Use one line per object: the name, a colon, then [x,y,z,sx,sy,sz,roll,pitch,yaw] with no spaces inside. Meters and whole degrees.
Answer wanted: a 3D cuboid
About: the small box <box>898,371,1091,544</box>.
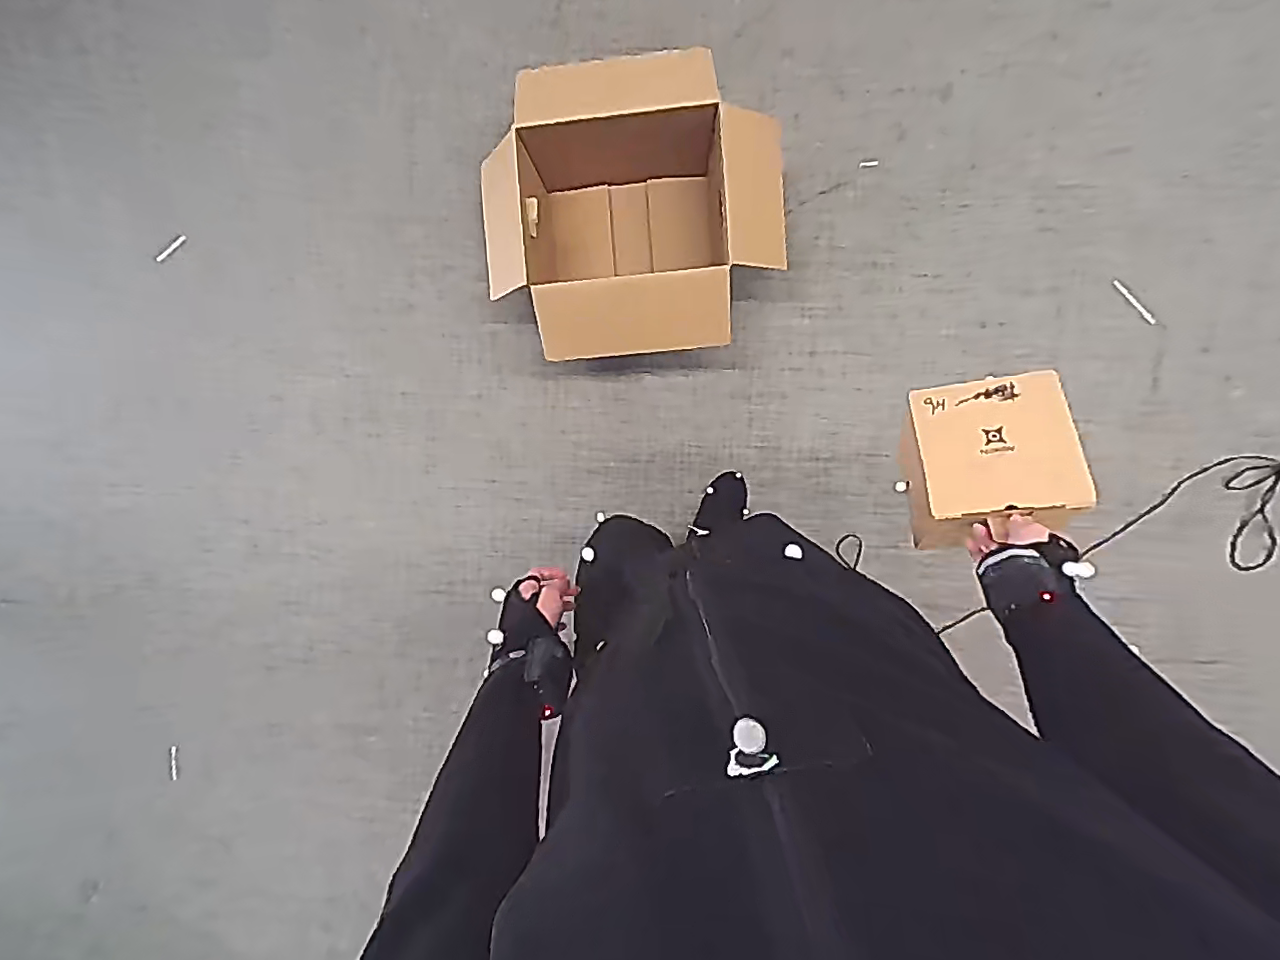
small box: [0.448,-0.016,0.717,0.168,0.176,0.179,-6,67,18]
